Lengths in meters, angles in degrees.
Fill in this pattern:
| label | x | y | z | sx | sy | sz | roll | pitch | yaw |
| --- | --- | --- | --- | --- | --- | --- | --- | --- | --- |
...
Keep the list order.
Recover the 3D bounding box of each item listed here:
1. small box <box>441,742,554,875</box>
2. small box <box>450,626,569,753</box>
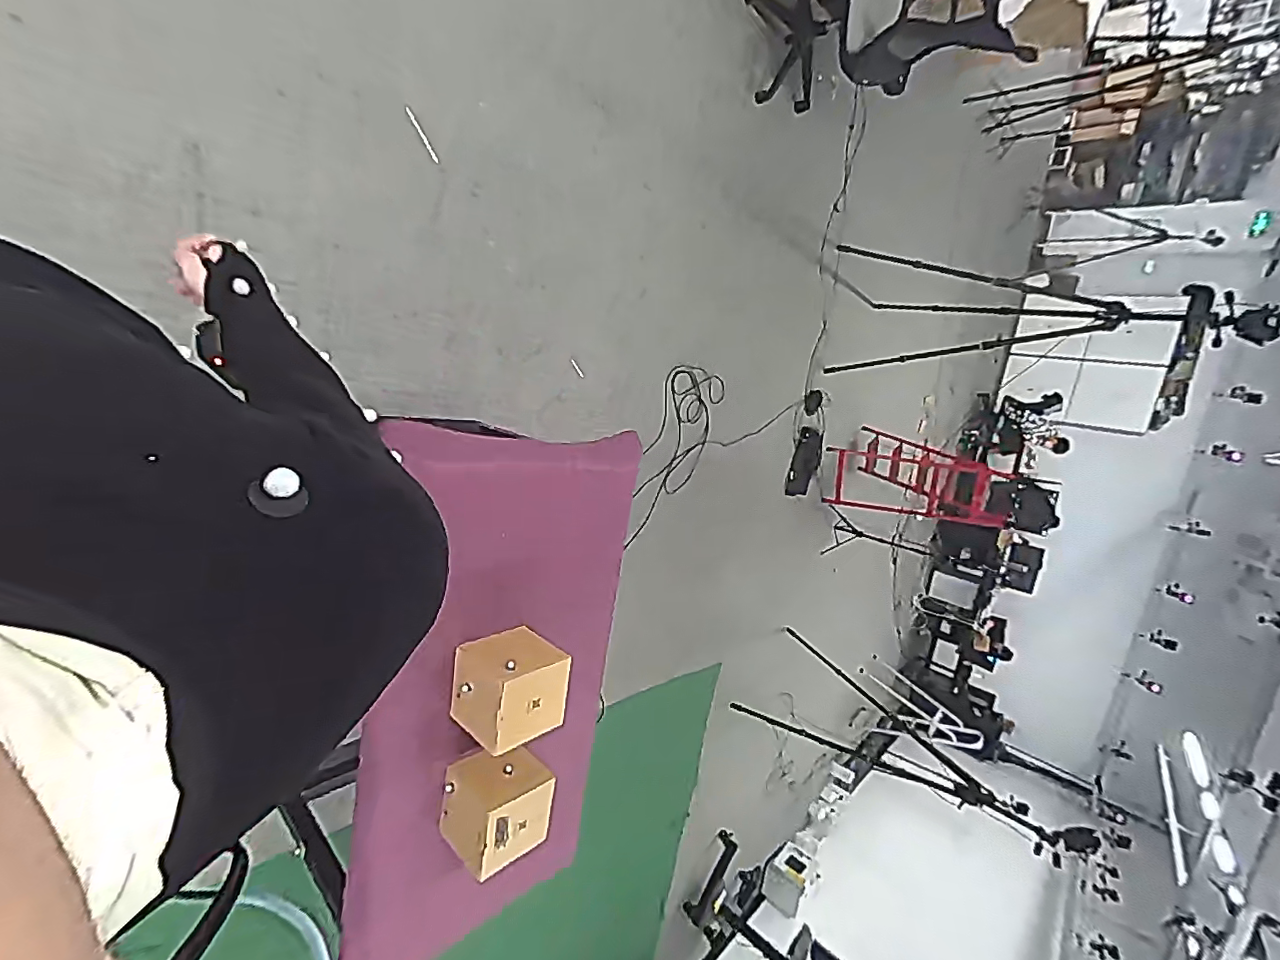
| label | x | y | z | sx | sy | sz | roll | pitch | yaw |
| --- | --- | --- | --- | --- | --- | --- | --- | --- | --- |
| small box | -0.322 | 0.714 | 1.207 | 0.179 | 0.176 | 0.168 | -1 | 104 | -50 |
| small box | -0.280 | 0.434 | 1.157 | 0.179 | 0.176 | 0.168 | -4 | 107 | -48 |
